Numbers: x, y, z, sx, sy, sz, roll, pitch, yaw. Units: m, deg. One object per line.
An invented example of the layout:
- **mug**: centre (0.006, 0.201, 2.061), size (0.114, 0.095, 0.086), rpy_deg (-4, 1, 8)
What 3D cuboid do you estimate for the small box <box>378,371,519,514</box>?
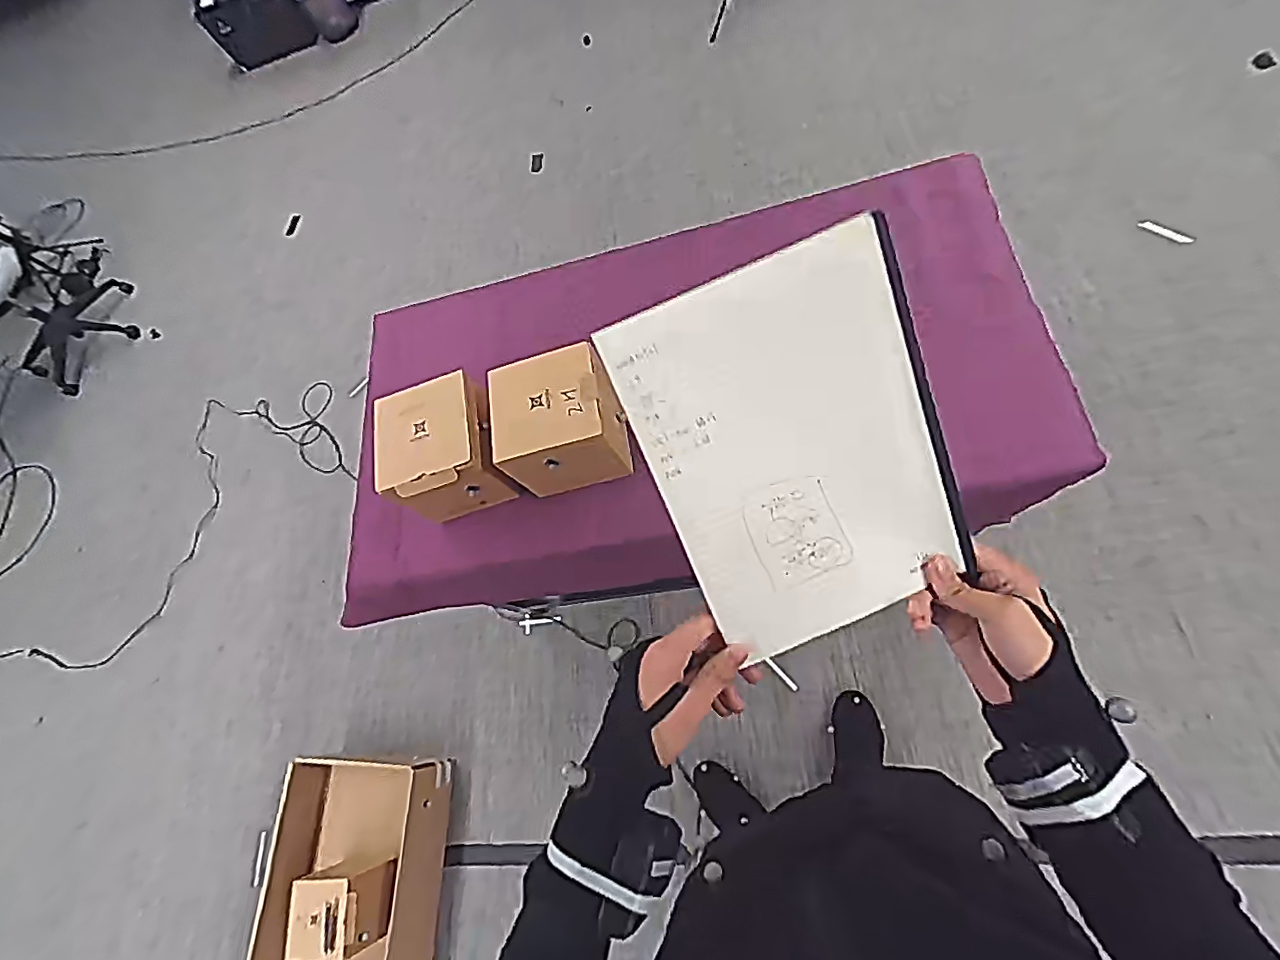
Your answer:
- **small box**: centre (-0.322, -0.051, 0.929), size (0.168, 0.176, 0.179), rpy_deg (-17, 66, 8)
